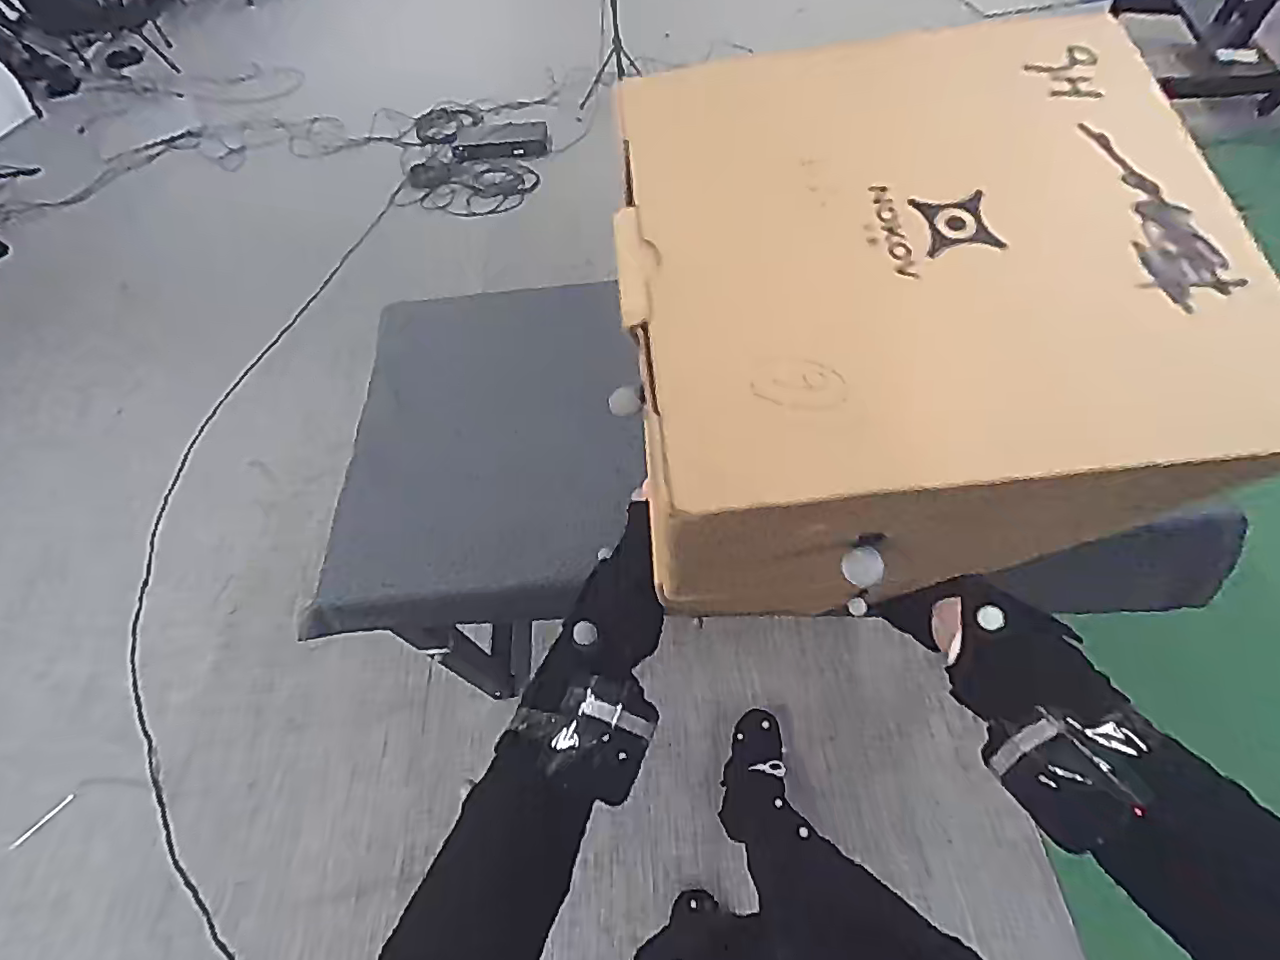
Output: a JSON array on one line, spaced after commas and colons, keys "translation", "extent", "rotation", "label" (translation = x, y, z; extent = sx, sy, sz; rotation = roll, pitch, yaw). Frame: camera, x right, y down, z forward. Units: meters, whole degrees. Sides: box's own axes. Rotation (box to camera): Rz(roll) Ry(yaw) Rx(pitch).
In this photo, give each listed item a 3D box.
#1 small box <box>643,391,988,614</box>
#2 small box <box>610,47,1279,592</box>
[{"translation": [0.097, -0.002, 0.391], "extent": [0.179, 0.176, 0.168], "rotation": [-8, 70, 0], "label": "small box"}, {"translation": [0.089, -0.051, 0.255], "extent": [0.179, 0.176, 0.168], "rotation": [-9, 68, 0], "label": "small box"}]
